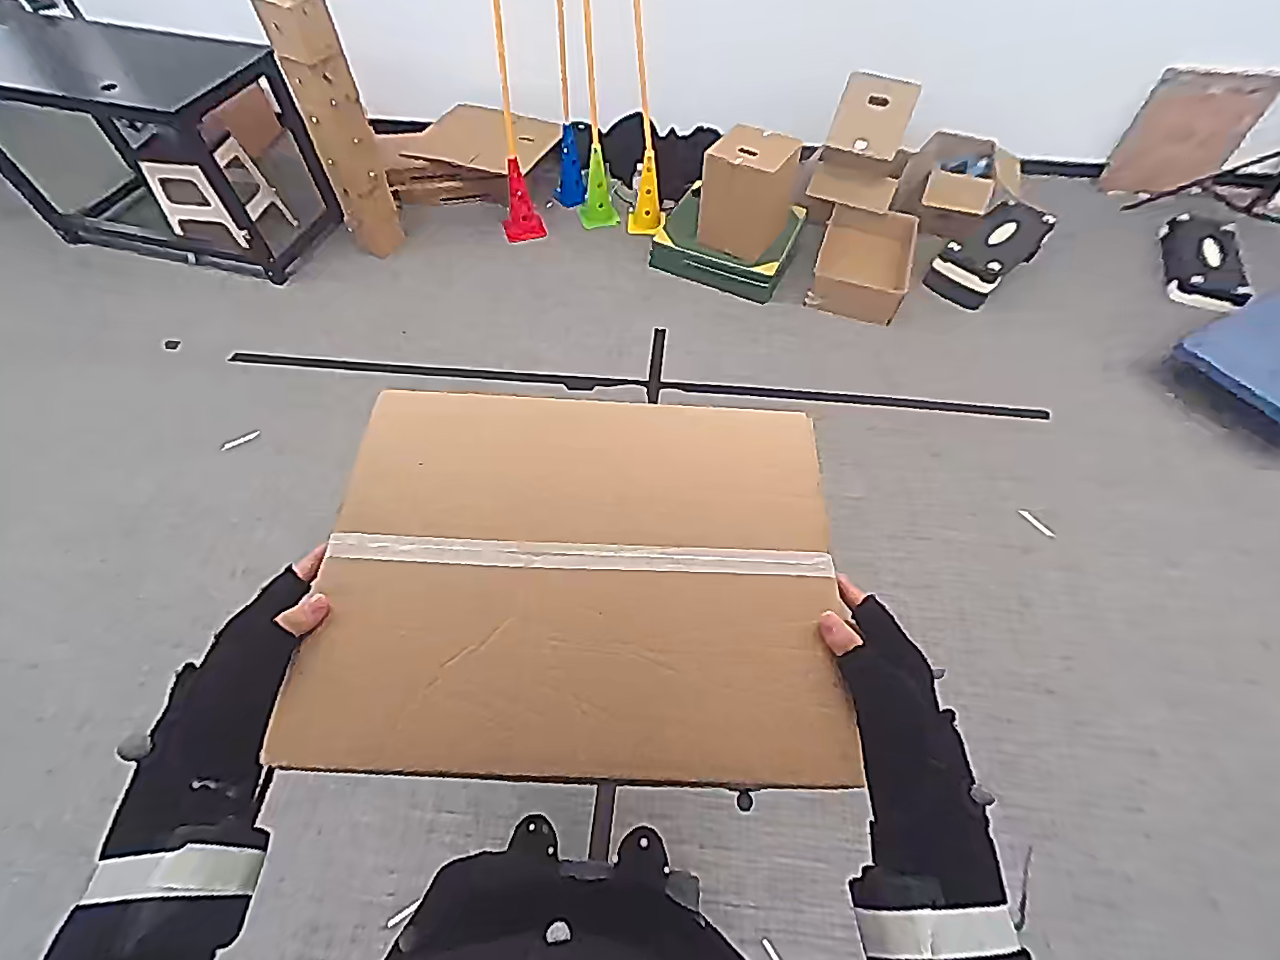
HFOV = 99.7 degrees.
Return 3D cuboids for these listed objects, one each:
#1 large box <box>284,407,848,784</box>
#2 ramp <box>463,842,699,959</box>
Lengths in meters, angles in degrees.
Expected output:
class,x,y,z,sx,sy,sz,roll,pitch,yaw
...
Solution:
class,x,y,z,sx,sy,sz,roll,pitch,yaw
large box,-0.051,0.140,0.579,0.408,0.320,0.320,3,60,-1
ramp,-0.153,1.287,1.013,0.509,0.206,0.991,4,57,0
